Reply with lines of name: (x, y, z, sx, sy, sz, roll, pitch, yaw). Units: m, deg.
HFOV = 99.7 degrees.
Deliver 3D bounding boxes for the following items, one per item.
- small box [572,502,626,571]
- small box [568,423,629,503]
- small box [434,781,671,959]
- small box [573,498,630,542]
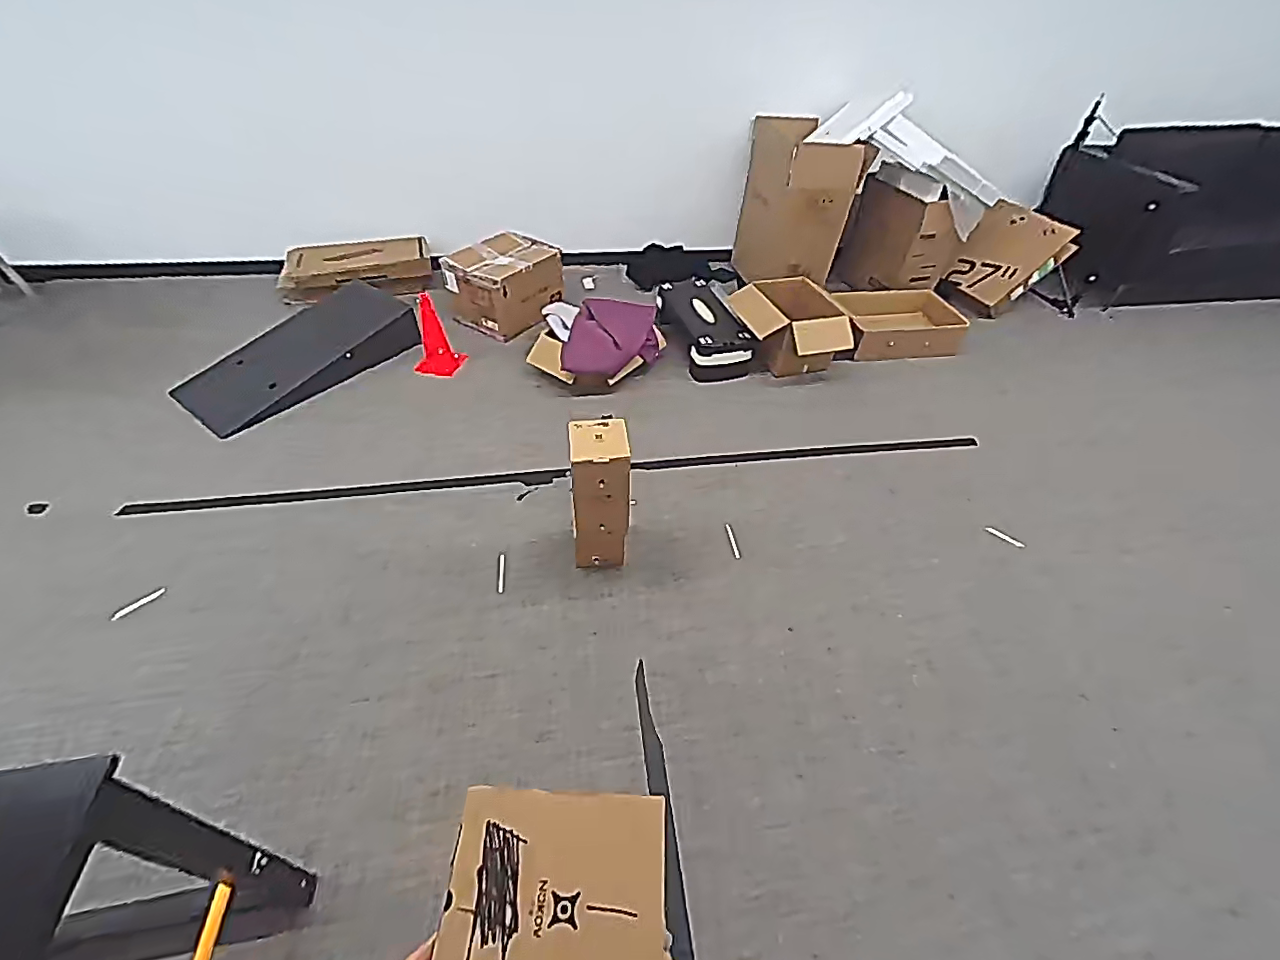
small box: (-0.140, 0.183, 1.816, 0.168, 0.176, 0.179, -5, 46, -7)
small box: (-0.120, -0.044, 1.579, 0.168, 0.176, 0.179, -4, 45, -6)
small box: (-0.067, 0.387, 0.477, 0.179, 0.176, 0.168, 4, 44, -1)
small box: (-0.125, 0.071, 1.695, 0.168, 0.176, 0.179, -5, 45, -6)
